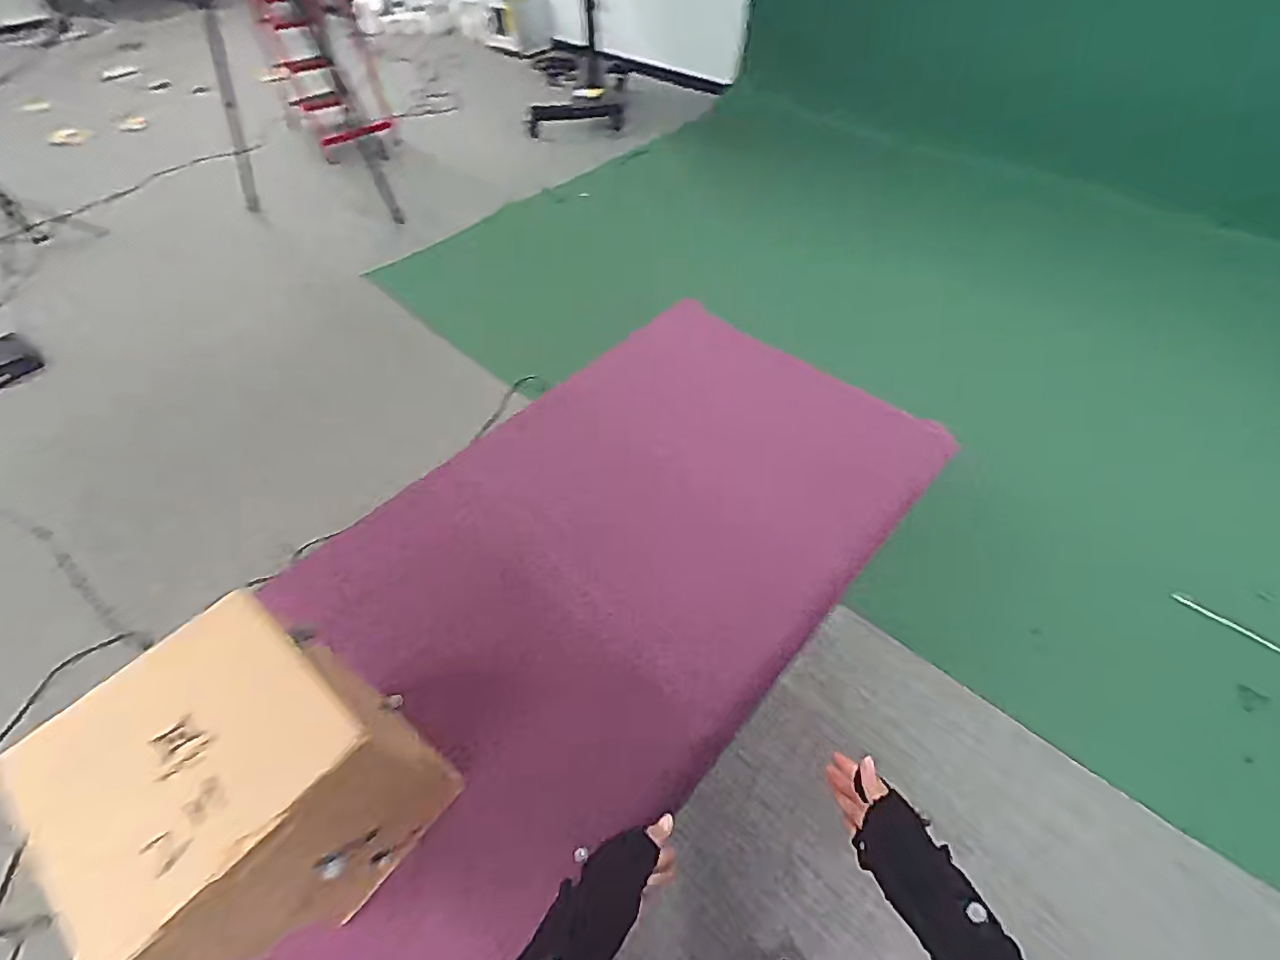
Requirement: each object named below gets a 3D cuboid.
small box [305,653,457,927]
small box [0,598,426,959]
[{"bbox_3d":[-0.321,0.320,0.557,0.179,0.176,0.168,32,58,21],"label":"small box"},{"bbox_3d":[-0.302,0.232,0.417,0.179,0.176,0.168,33,59,22],"label":"small box"}]
